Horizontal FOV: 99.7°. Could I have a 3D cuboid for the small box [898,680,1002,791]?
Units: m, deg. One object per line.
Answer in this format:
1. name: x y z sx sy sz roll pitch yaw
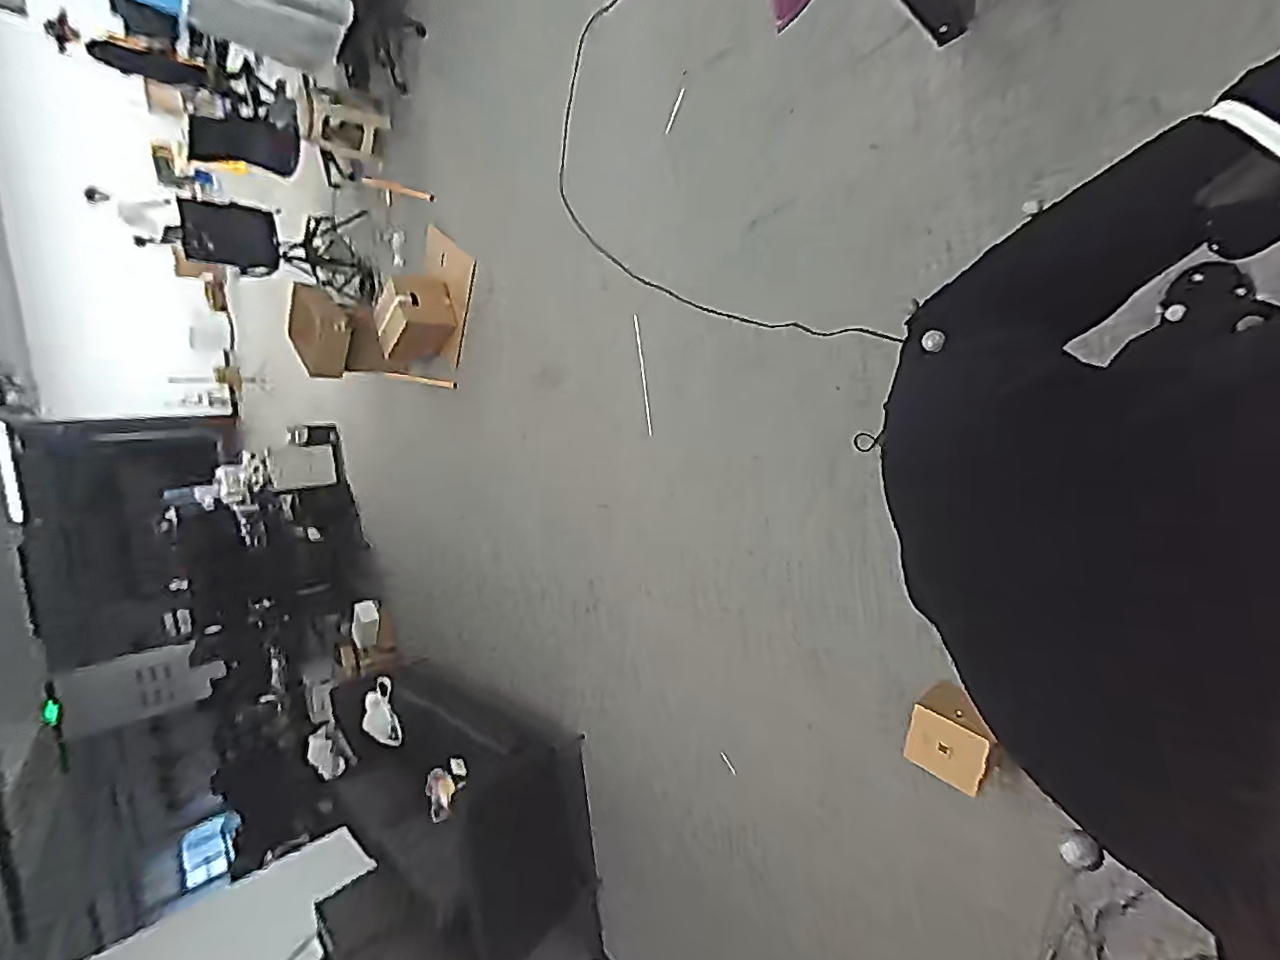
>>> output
1. small box: 0.807 0.650 1.403 0.179 0.176 0.168 21 112 44
